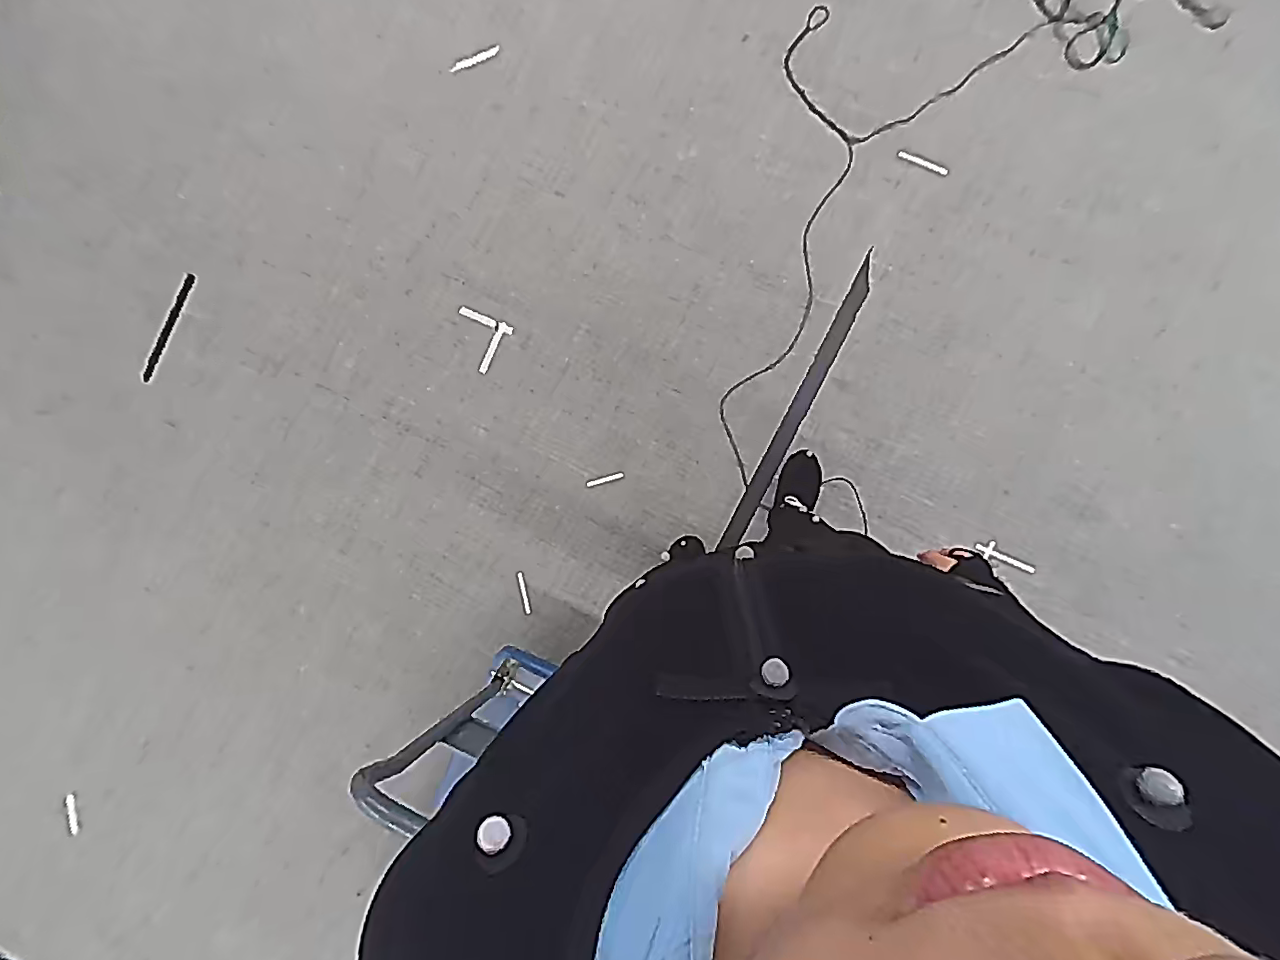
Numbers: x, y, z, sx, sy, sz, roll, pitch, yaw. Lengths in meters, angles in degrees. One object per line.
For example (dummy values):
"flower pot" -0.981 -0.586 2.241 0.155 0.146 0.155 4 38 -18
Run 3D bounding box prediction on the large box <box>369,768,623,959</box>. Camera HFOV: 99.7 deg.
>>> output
"large box" -0.293 0.923 1.188 0.408 0.320 0.320 25 90 6
